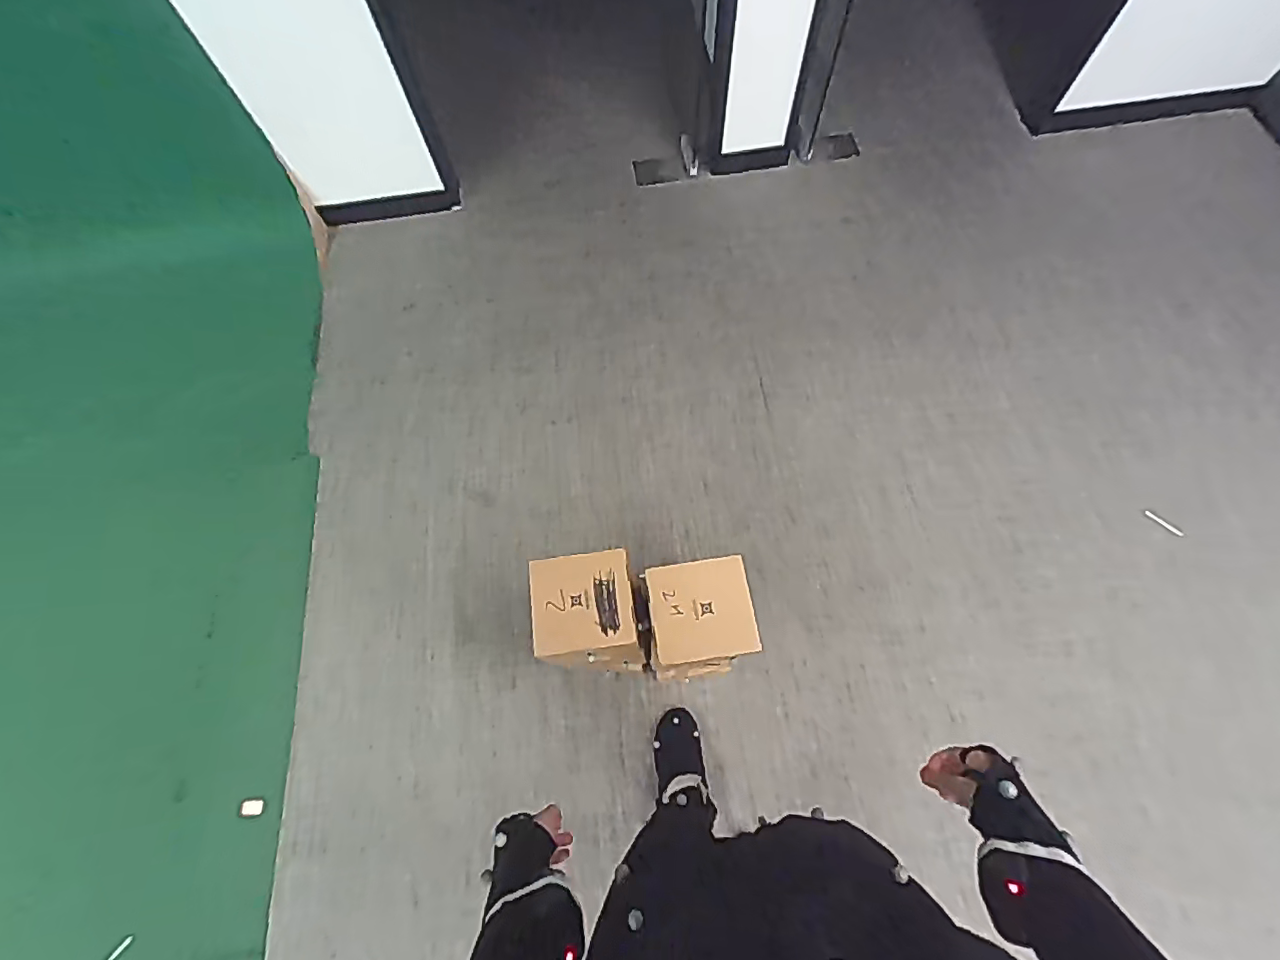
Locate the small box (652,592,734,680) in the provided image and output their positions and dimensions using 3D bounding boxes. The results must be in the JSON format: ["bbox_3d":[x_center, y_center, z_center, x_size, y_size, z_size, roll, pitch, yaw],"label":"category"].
[{"bbox_3d":[0.119,0.377,1.292,0.168,0.176,0.179,-7,69,0],"label":"small box"}]
